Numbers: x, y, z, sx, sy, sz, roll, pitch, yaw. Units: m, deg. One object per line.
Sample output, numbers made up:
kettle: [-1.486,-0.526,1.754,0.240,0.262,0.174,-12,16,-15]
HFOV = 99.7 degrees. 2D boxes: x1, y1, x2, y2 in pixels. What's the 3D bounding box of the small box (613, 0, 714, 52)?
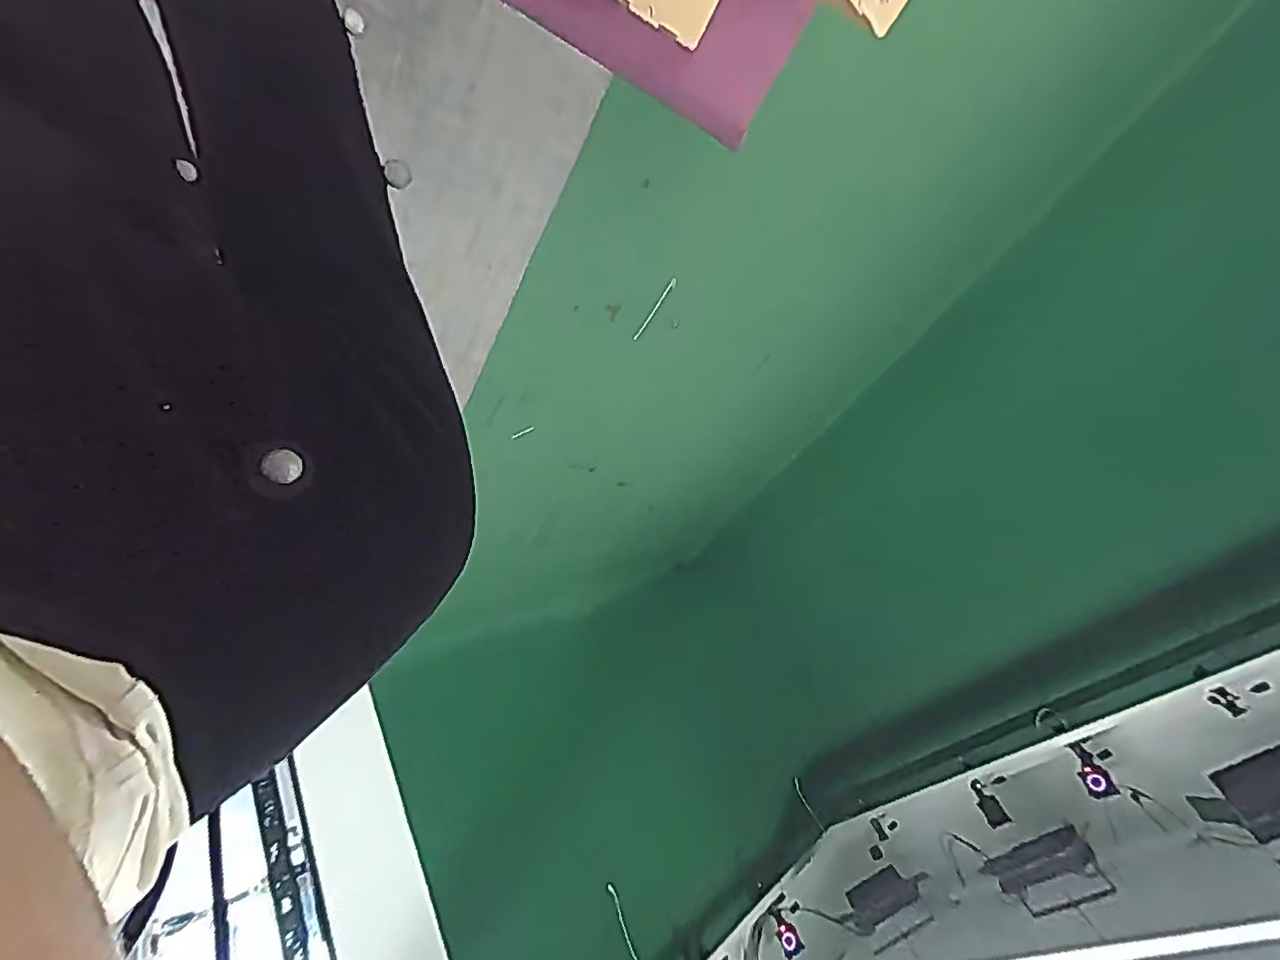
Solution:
small box: [0.001,-0.625,0.580,0.168,0.176,0.179,-6,144,-44]
